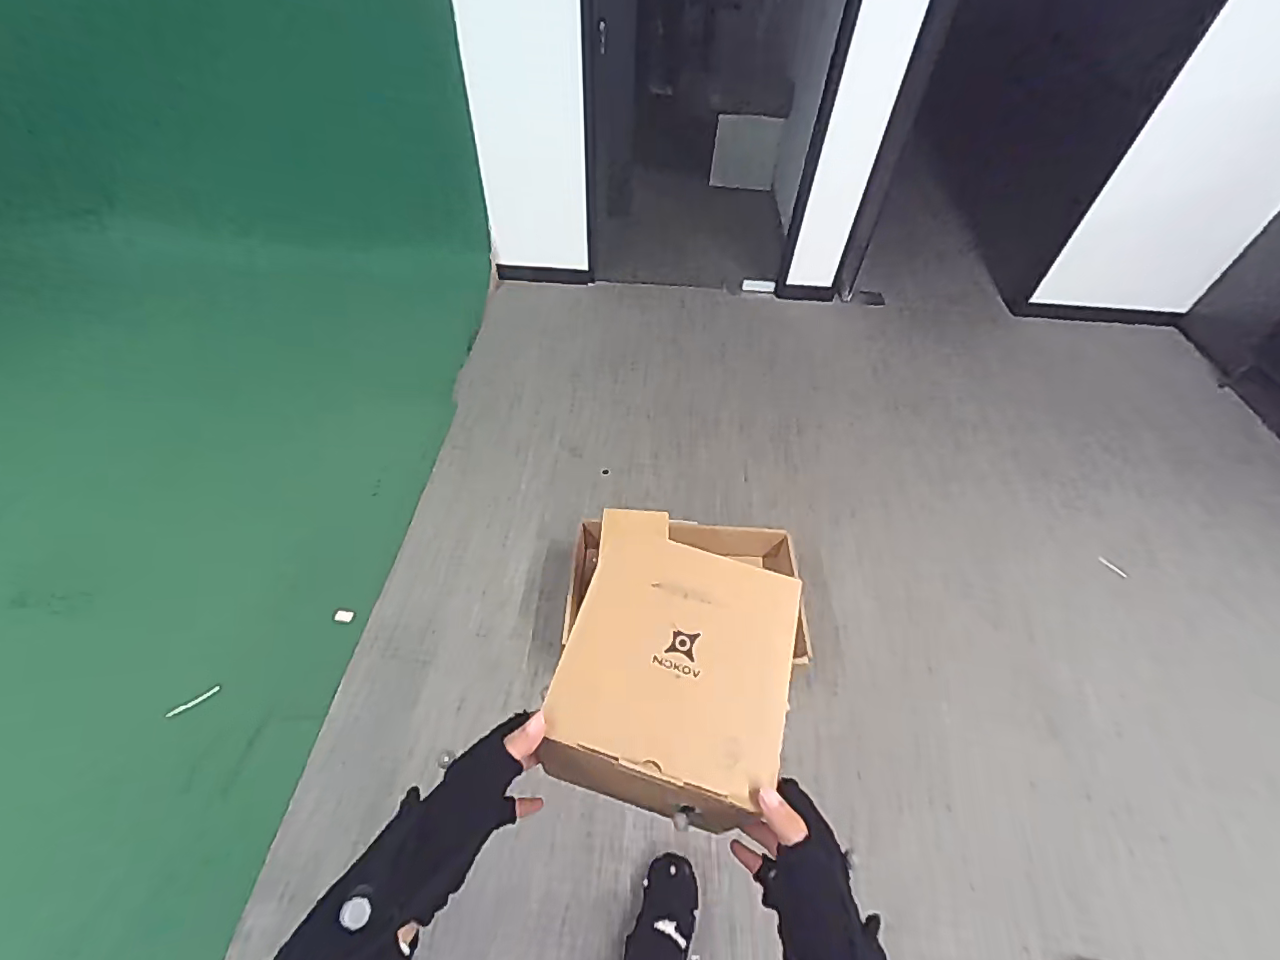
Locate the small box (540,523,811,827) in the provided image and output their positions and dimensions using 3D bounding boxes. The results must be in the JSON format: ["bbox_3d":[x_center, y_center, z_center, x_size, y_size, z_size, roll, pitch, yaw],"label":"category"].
[{"bbox_3d":[0.029,0.172,0.463,0.168,0.176,0.179,18,53,6],"label":"small box"}]

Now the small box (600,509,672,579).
[{"bbox_3d":[-0.012,0.197,1.348,0.168,0.176,0.179,4,49,-1],"label":"small box"}]
